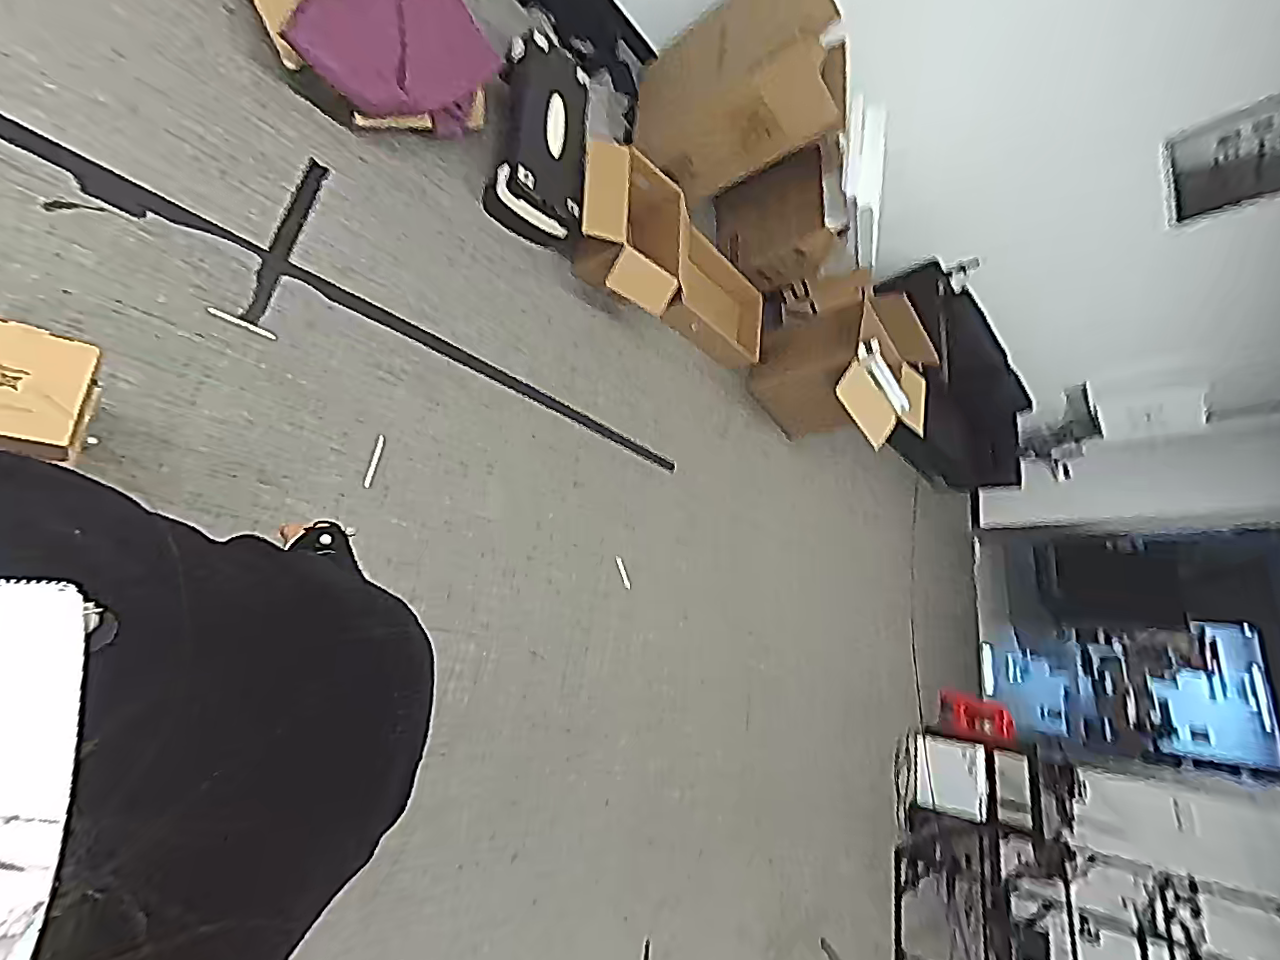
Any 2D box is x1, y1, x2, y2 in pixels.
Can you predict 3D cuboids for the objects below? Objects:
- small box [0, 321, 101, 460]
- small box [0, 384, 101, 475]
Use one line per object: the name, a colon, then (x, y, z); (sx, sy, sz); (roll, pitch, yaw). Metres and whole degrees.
small box: (-1.014, -0.143, 0.875); (0.168, 0.176, 0.179); (17, 72, -42)
small box: (-1.132, -0.113, 0.983); (0.179, 0.176, 0.168); (22, 68, -43)
